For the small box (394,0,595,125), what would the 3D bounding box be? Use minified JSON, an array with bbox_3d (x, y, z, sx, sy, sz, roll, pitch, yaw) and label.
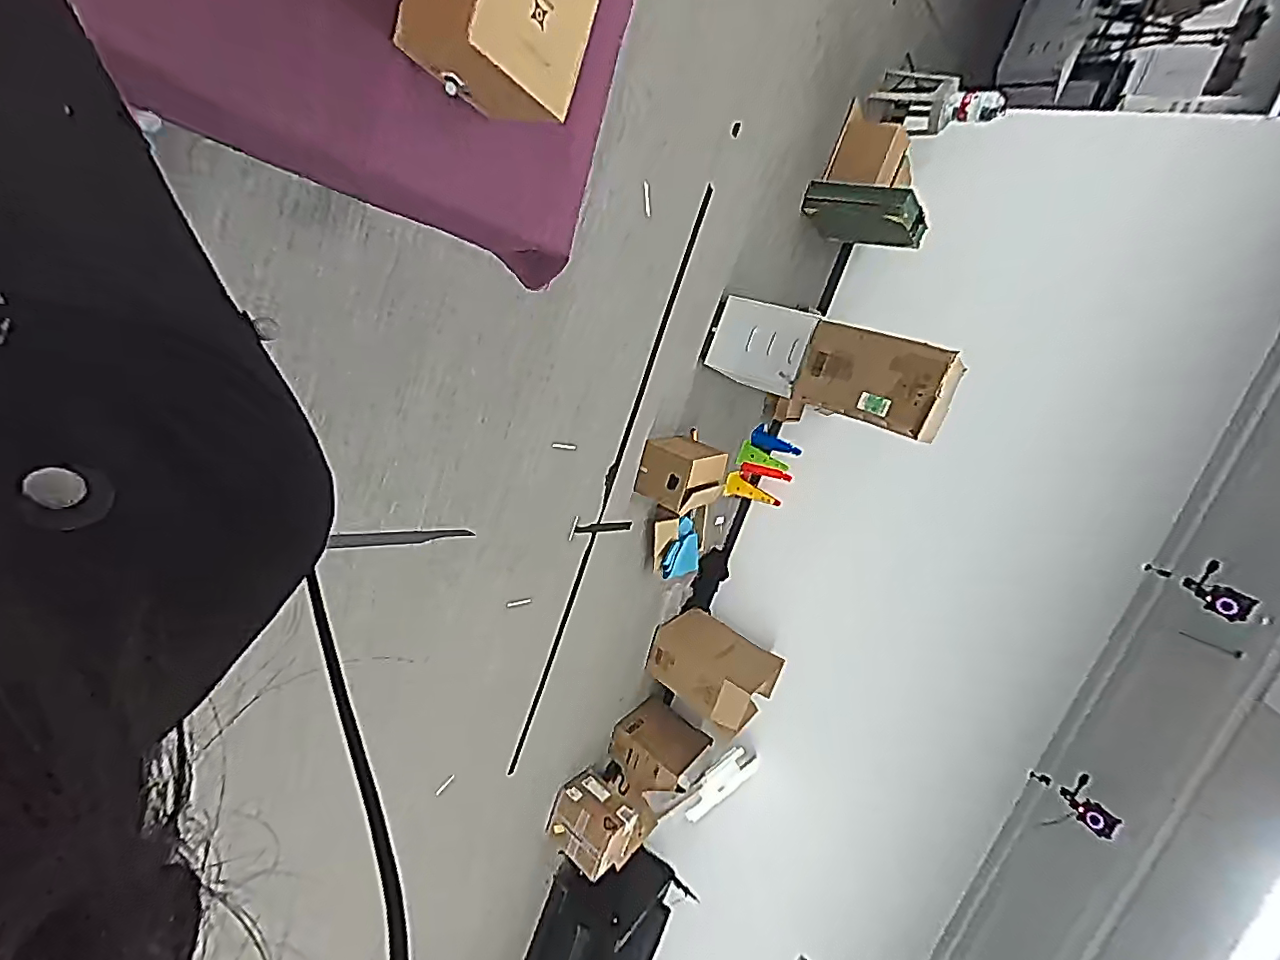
[{"bbox_3d":[-0.191,-0.603,0.707,0.168,0.176,0.179,3,110,-57],"label":"small box"}]
